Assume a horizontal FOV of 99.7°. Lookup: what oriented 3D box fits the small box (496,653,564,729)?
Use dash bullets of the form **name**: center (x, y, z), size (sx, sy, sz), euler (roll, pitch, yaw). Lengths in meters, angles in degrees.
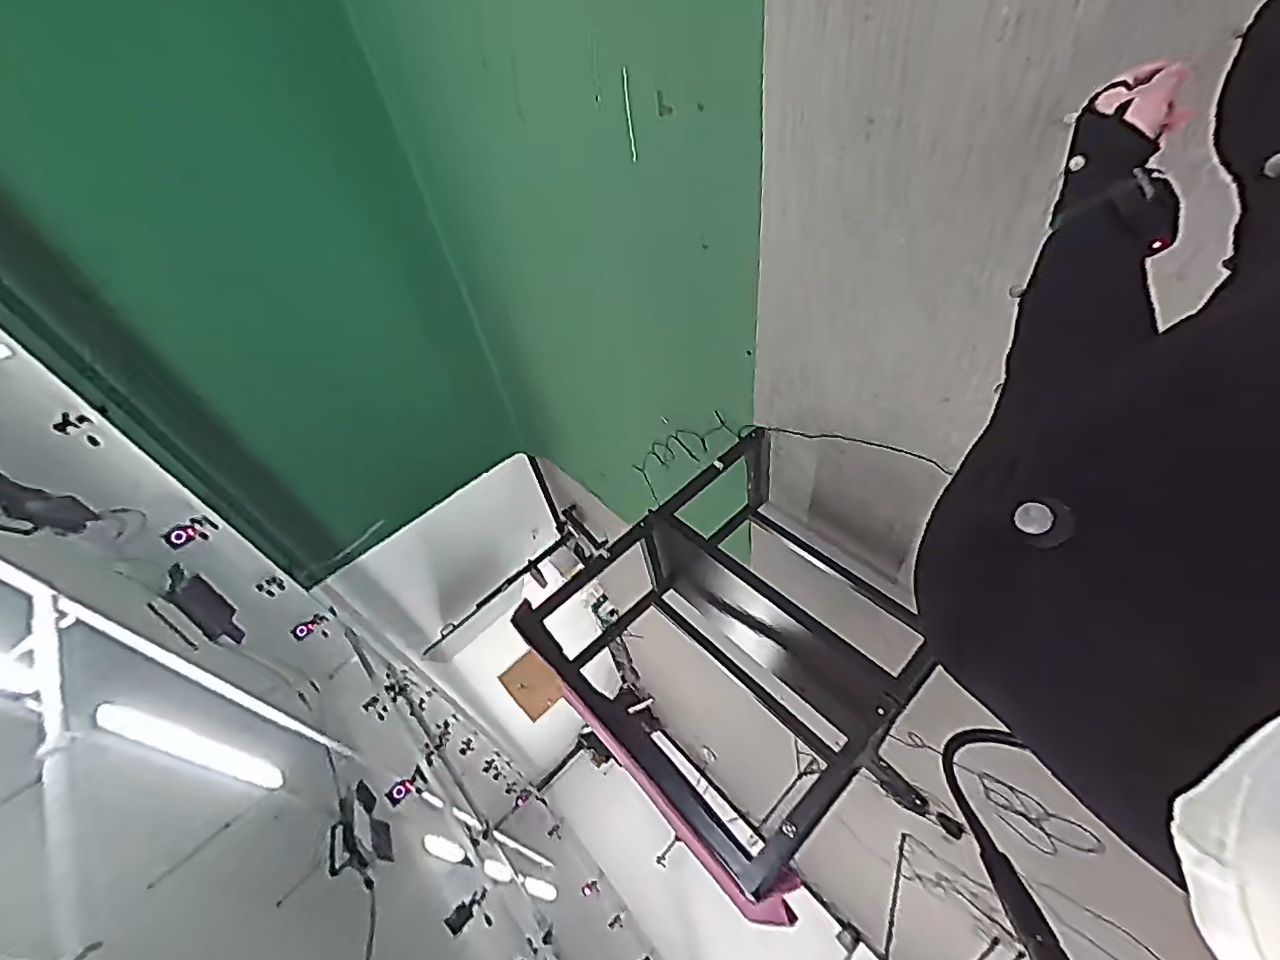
- **small box**: center (-0.402, 0.786, 2.023), size (0.179, 0.176, 0.168), euler (37, 152, 31)
